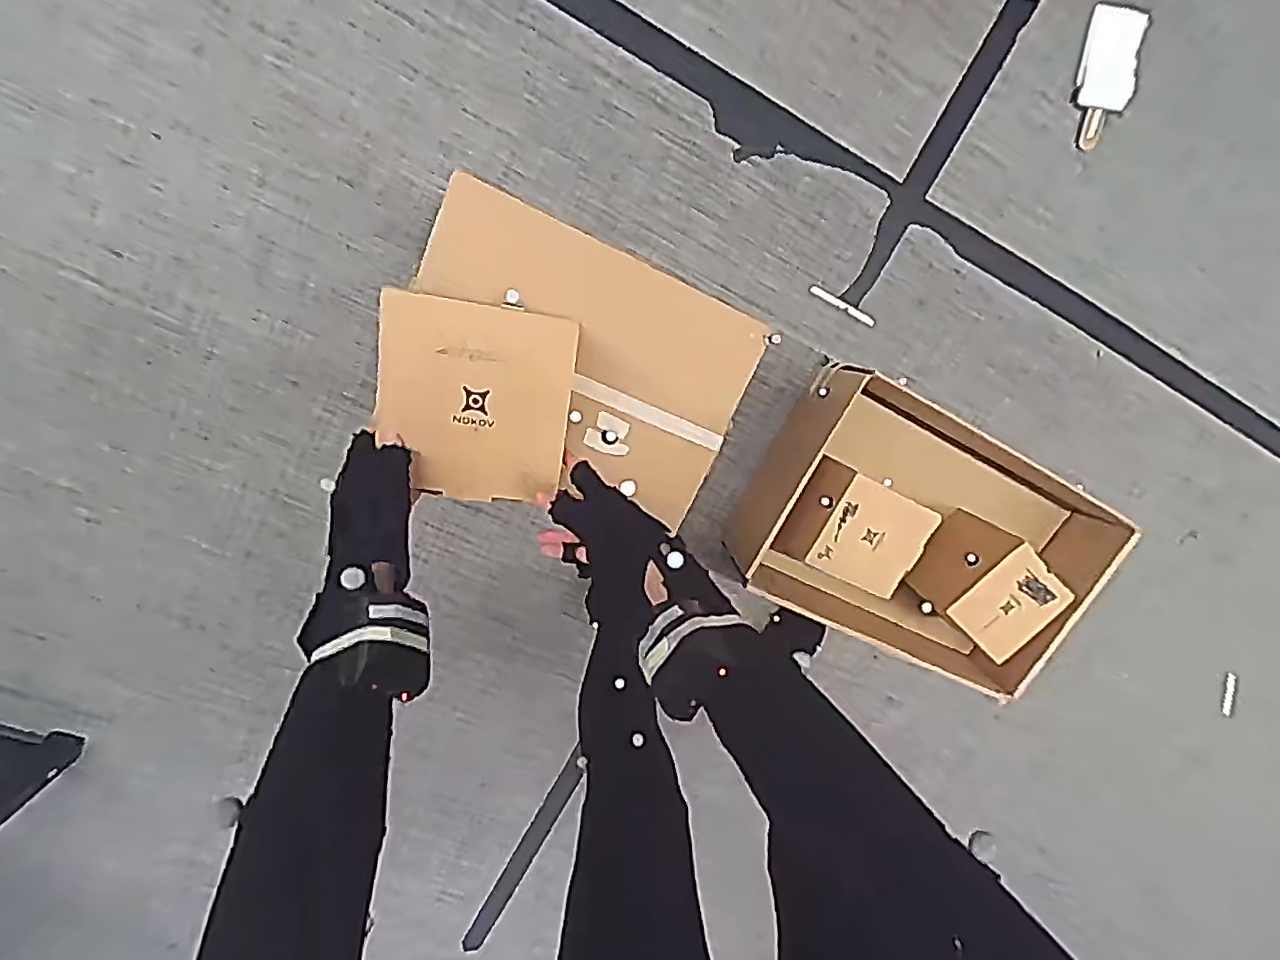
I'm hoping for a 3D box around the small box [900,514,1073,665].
[{"bbox_3d":[0.620,0.191,0.993,0.168,0.176,0.179,42,98,-14],"label":"small box"}]

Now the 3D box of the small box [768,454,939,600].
[{"bbox_3d":[0.354,0.071,0.927,0.179,0.176,0.168,25,100,-14],"label":"small box"}]

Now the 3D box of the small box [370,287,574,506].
[{"bbox_3d":[-0.160,-0.089,0.549,0.168,0.176,0.179,6,106,-11],"label":"small box"}]

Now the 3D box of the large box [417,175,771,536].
[{"bbox_3d":[-0.096,-0.167,0.792,0.408,0.320,0.320,21,104,-12],"label":"large box"}]
